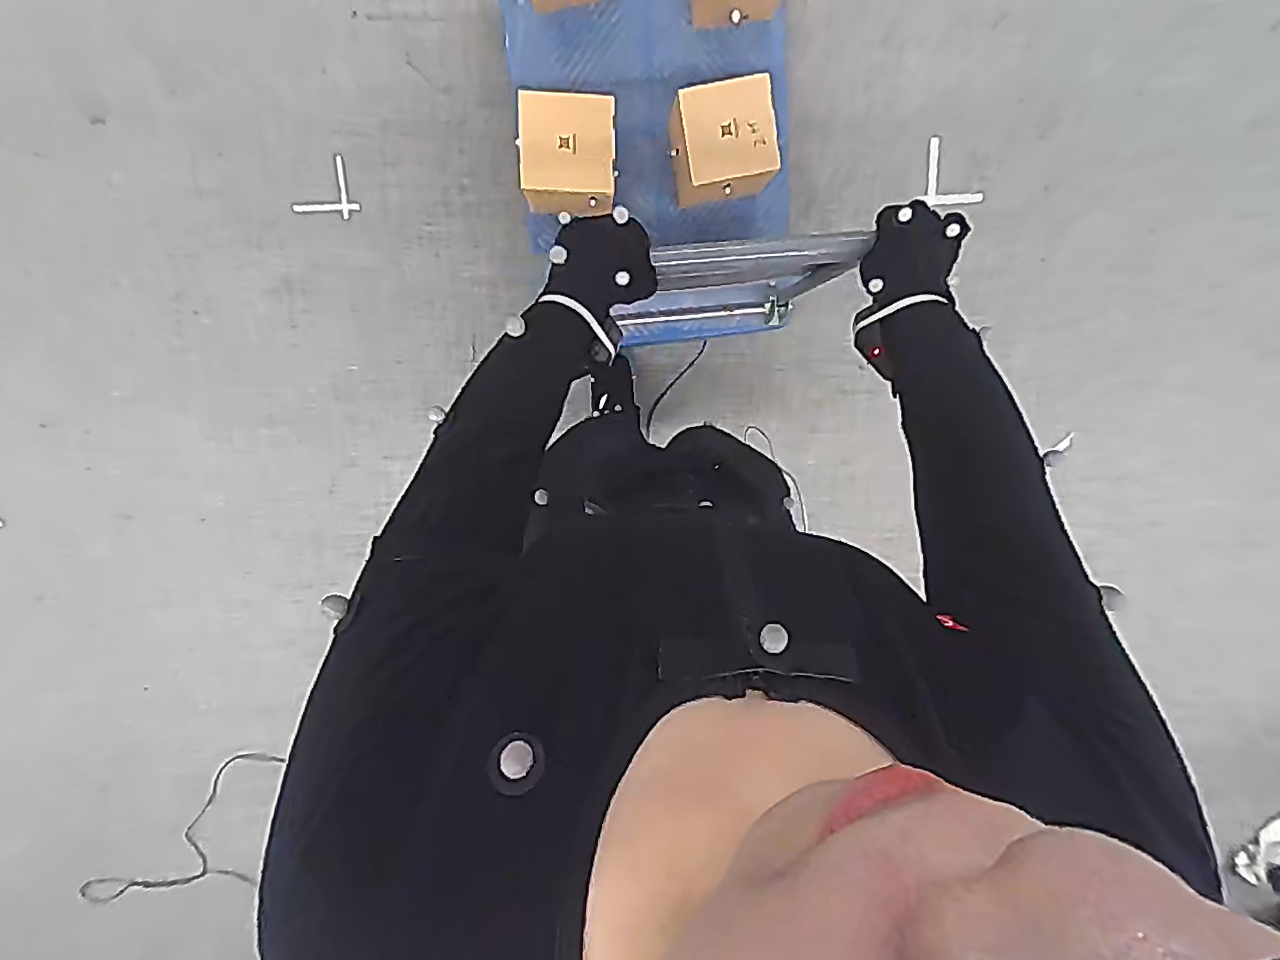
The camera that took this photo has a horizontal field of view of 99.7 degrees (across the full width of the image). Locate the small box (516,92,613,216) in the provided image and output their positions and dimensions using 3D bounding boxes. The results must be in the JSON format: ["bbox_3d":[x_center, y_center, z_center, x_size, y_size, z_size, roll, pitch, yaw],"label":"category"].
[{"bbox_3d":[-0.144,-0.631,1.066,0.179,0.176,0.168,-1,102,-6],"label":"small box"}]

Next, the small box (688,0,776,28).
[{"bbox_3d":[0.177,-0.998,1.007,0.168,0.176,0.179,-10,104,-2],"label":"small box"}]

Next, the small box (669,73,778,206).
[{"bbox_3d":[0.158,-0.667,1.081,0.179,0.176,0.168,-12,104,-1],"label":"small box"}]
